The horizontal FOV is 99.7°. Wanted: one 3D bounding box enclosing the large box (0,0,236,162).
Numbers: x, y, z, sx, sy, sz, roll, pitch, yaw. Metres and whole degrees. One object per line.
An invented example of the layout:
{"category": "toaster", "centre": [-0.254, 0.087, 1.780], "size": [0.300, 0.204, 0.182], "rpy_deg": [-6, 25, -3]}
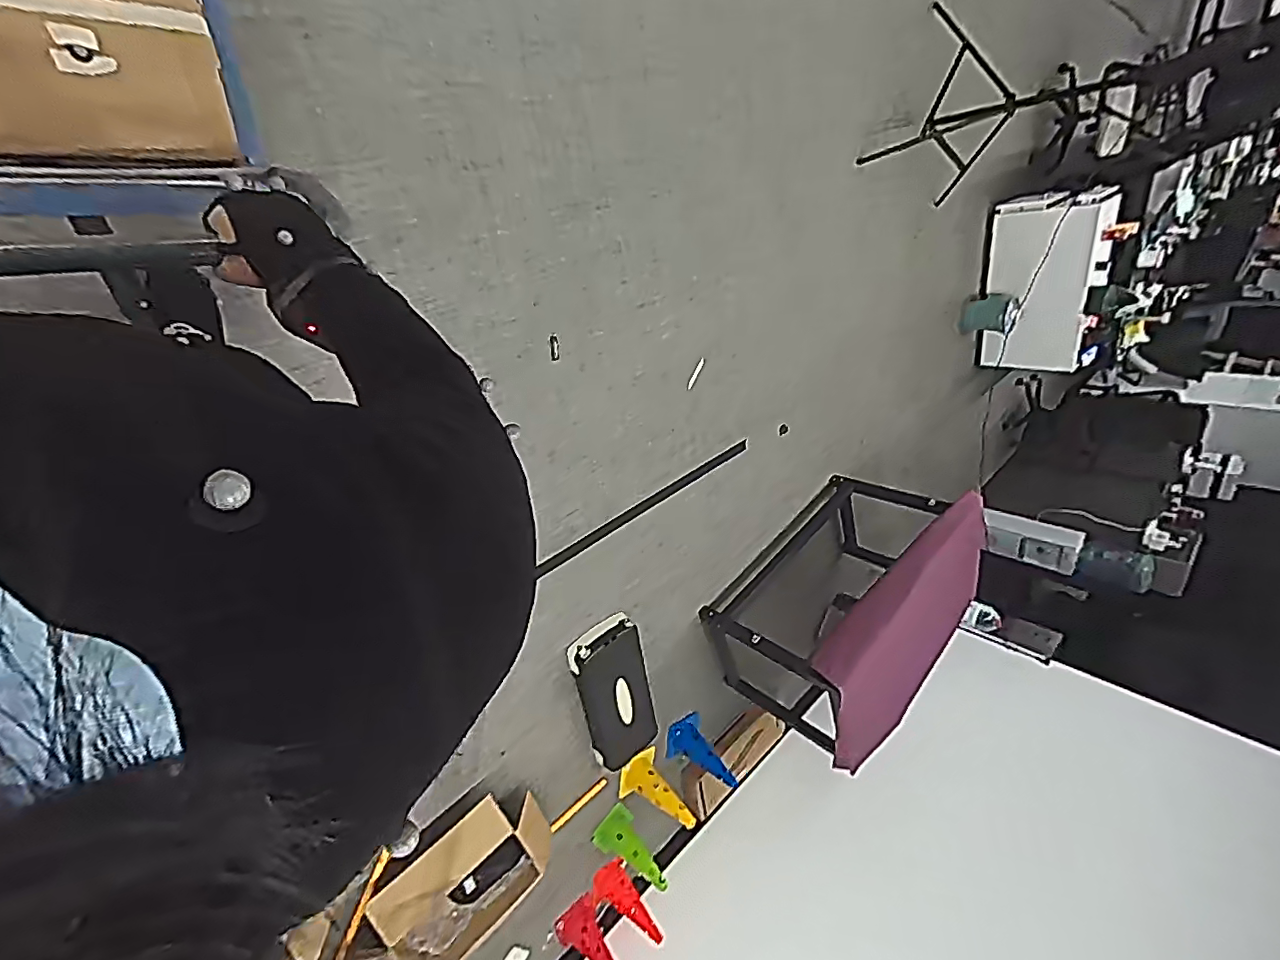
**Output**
{"category": "large box", "centre": [-0.835, -0.600, 0.699], "size": [0.408, 0.320, 0.320], "rpy_deg": [-23, 126, -36]}
